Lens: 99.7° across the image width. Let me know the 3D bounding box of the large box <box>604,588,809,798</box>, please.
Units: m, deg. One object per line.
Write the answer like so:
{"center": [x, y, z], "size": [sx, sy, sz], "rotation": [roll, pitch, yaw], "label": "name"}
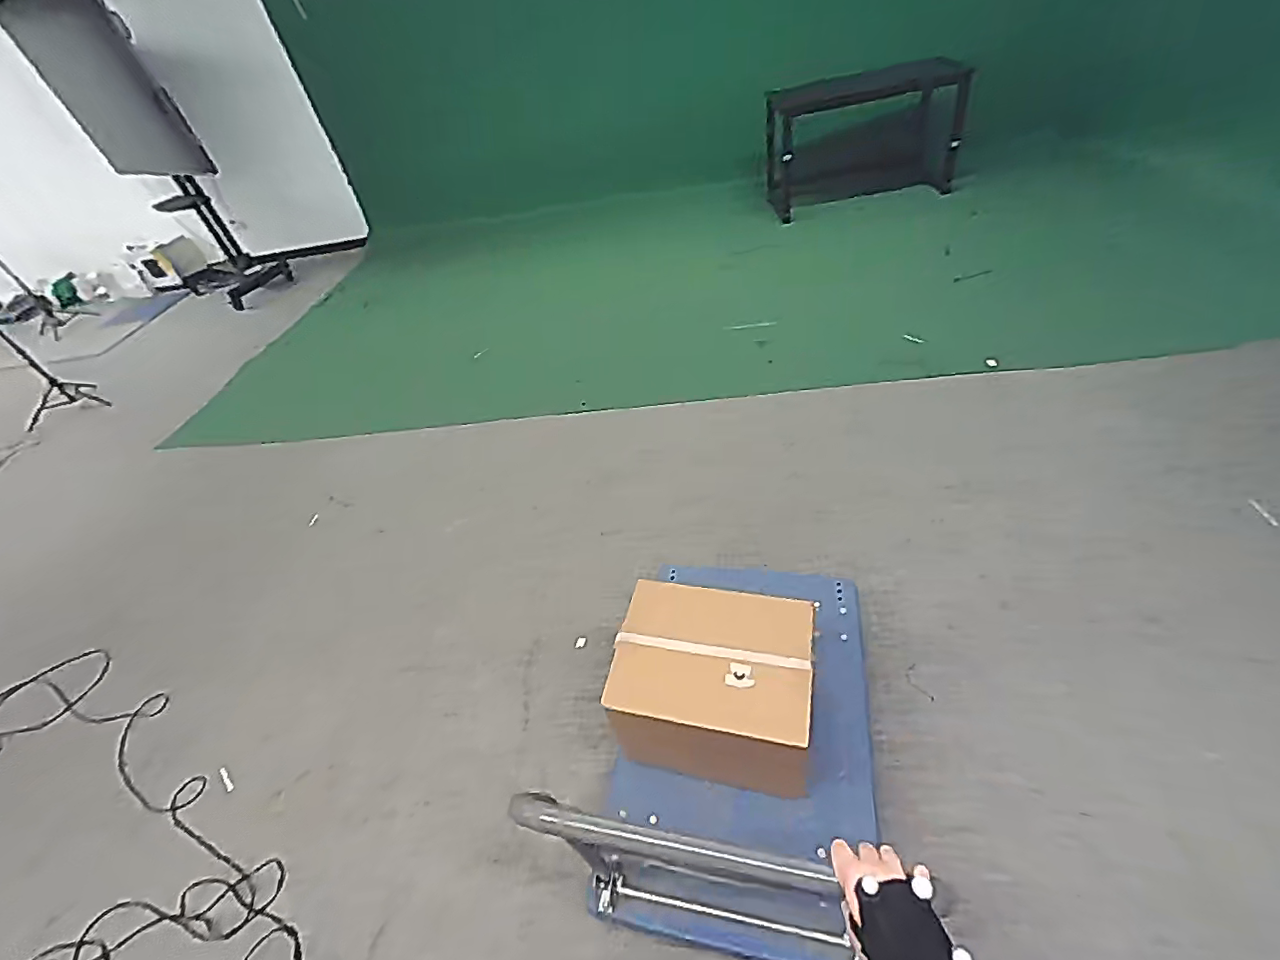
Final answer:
{"center": [0.168, 0.483, 1.250], "size": [0.408, 0.320, 0.320], "rotation": [4, 45, 16], "label": "large box"}
